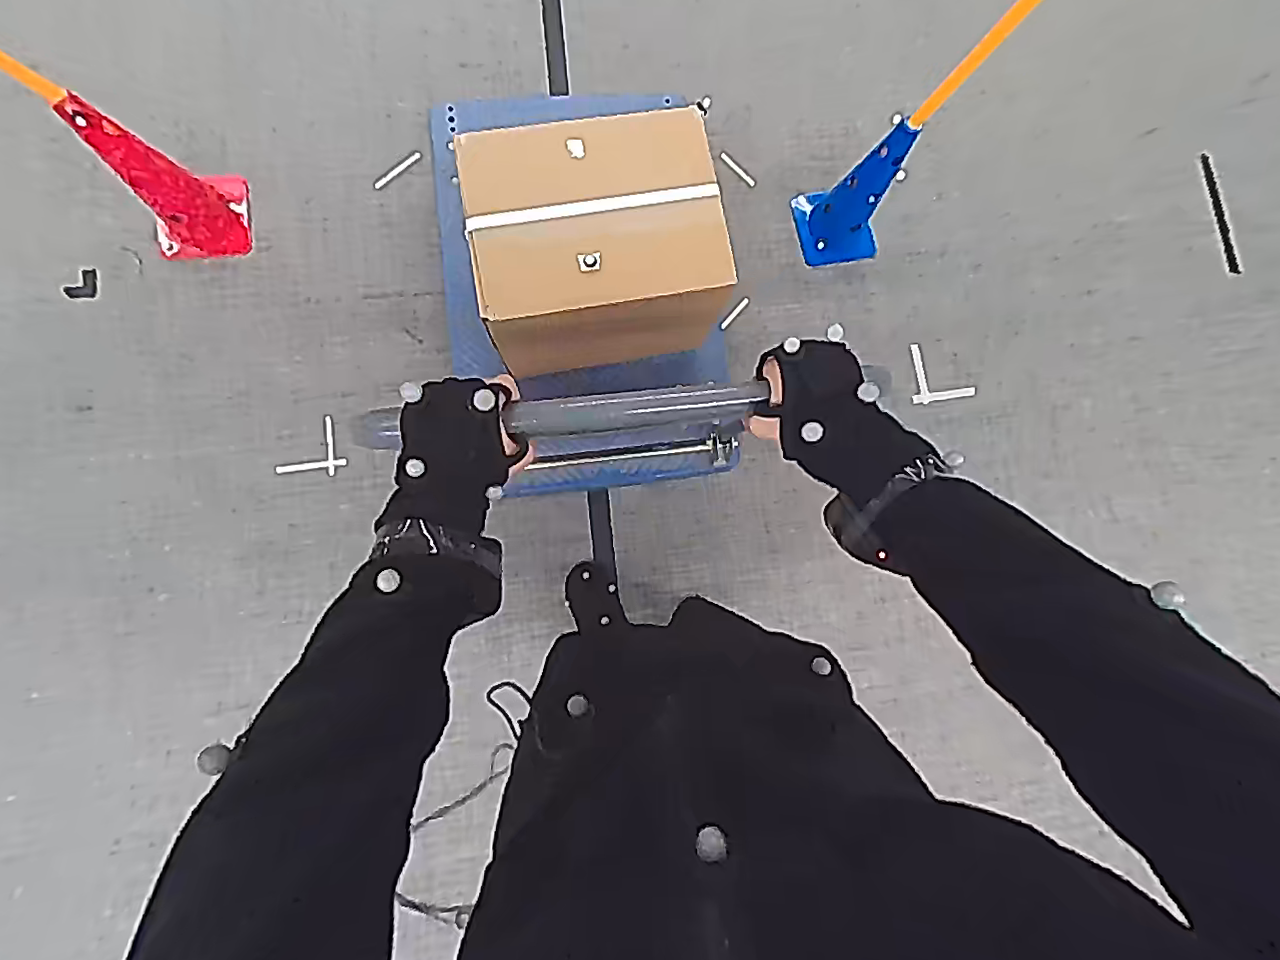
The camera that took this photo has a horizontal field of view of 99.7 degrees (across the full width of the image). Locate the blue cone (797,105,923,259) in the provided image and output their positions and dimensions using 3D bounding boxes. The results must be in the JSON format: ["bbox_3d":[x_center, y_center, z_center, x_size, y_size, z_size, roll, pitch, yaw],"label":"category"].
[{"bbox_3d":[0.530,-0.693,1.251,0.193,0.380,0.192,-10,84,-7],"label":"blue cone"}]
